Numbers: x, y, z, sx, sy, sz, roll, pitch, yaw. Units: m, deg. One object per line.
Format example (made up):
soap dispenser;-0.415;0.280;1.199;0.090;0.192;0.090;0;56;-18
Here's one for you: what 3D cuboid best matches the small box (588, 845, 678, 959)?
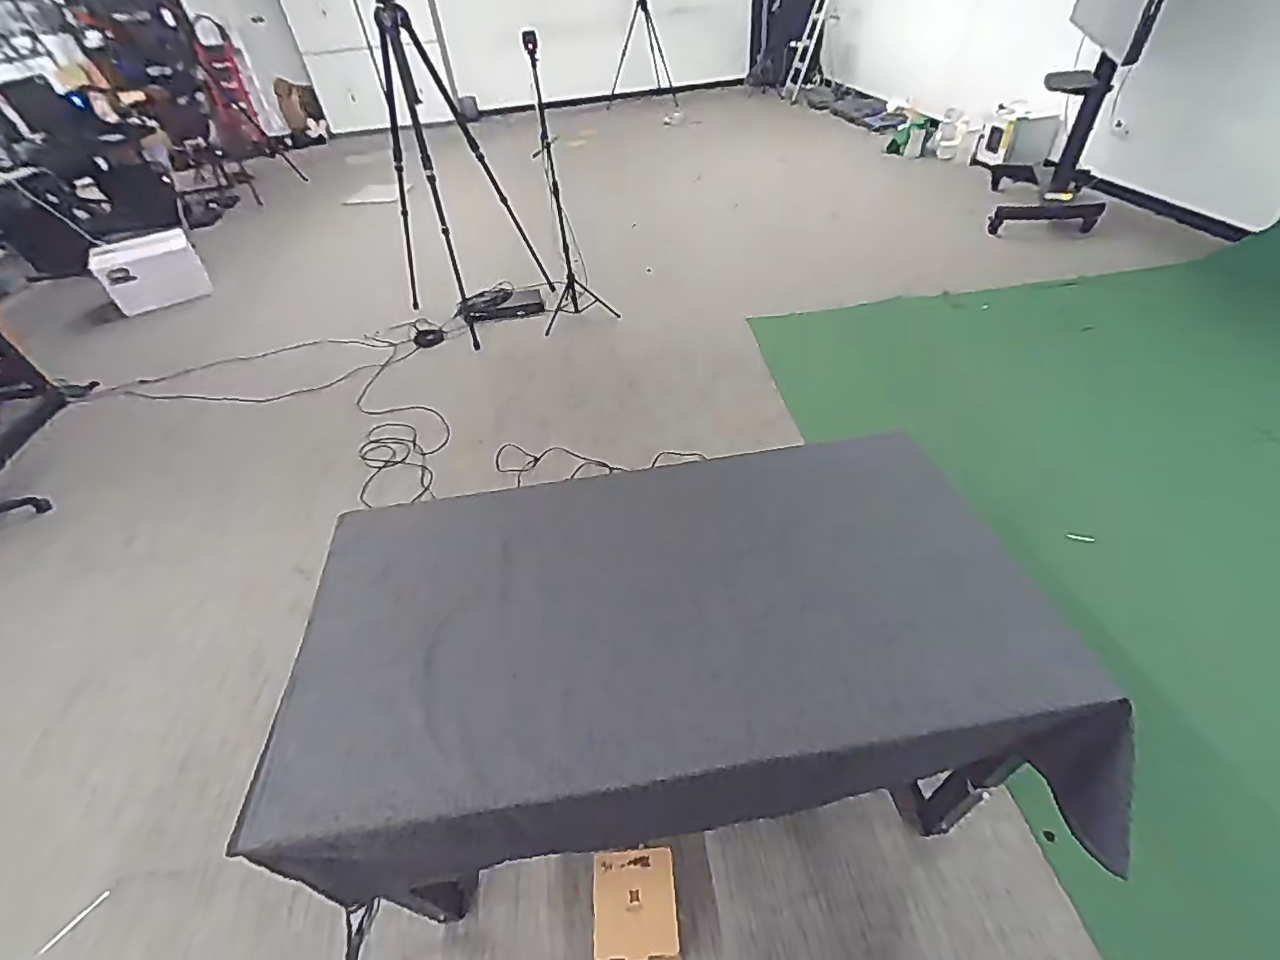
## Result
small box;-0.013;0.881;1.118;0.168;0.176;0.179;-6;44;1
